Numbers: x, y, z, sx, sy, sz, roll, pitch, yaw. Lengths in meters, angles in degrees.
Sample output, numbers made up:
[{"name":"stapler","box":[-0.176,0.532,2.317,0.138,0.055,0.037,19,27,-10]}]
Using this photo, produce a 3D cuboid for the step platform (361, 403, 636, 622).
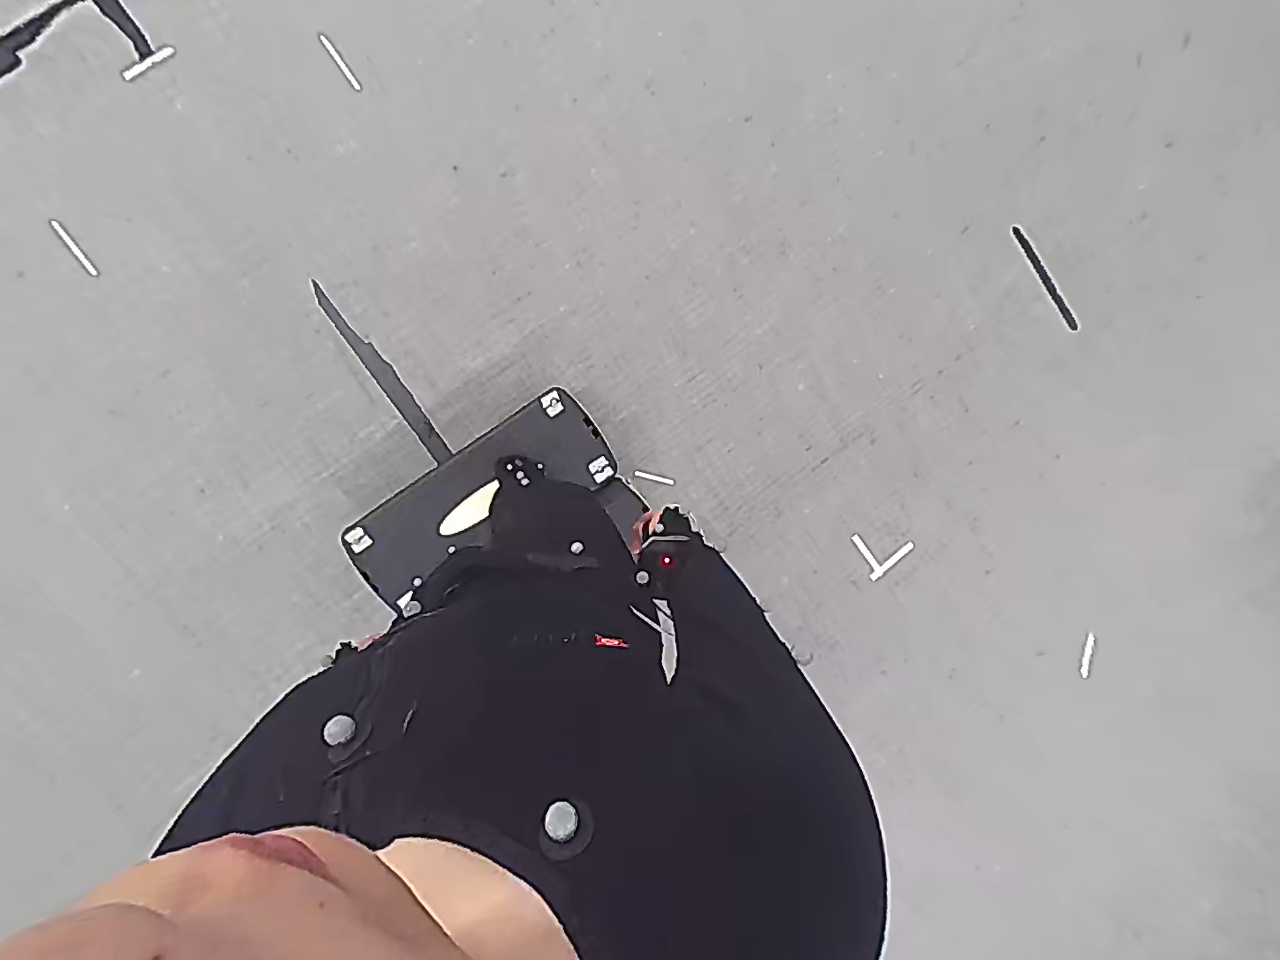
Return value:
[{"name":"step platform","box":[-0.350,0.075,1.413,0.684,0.204,0.286,-31,95,-7]}]
